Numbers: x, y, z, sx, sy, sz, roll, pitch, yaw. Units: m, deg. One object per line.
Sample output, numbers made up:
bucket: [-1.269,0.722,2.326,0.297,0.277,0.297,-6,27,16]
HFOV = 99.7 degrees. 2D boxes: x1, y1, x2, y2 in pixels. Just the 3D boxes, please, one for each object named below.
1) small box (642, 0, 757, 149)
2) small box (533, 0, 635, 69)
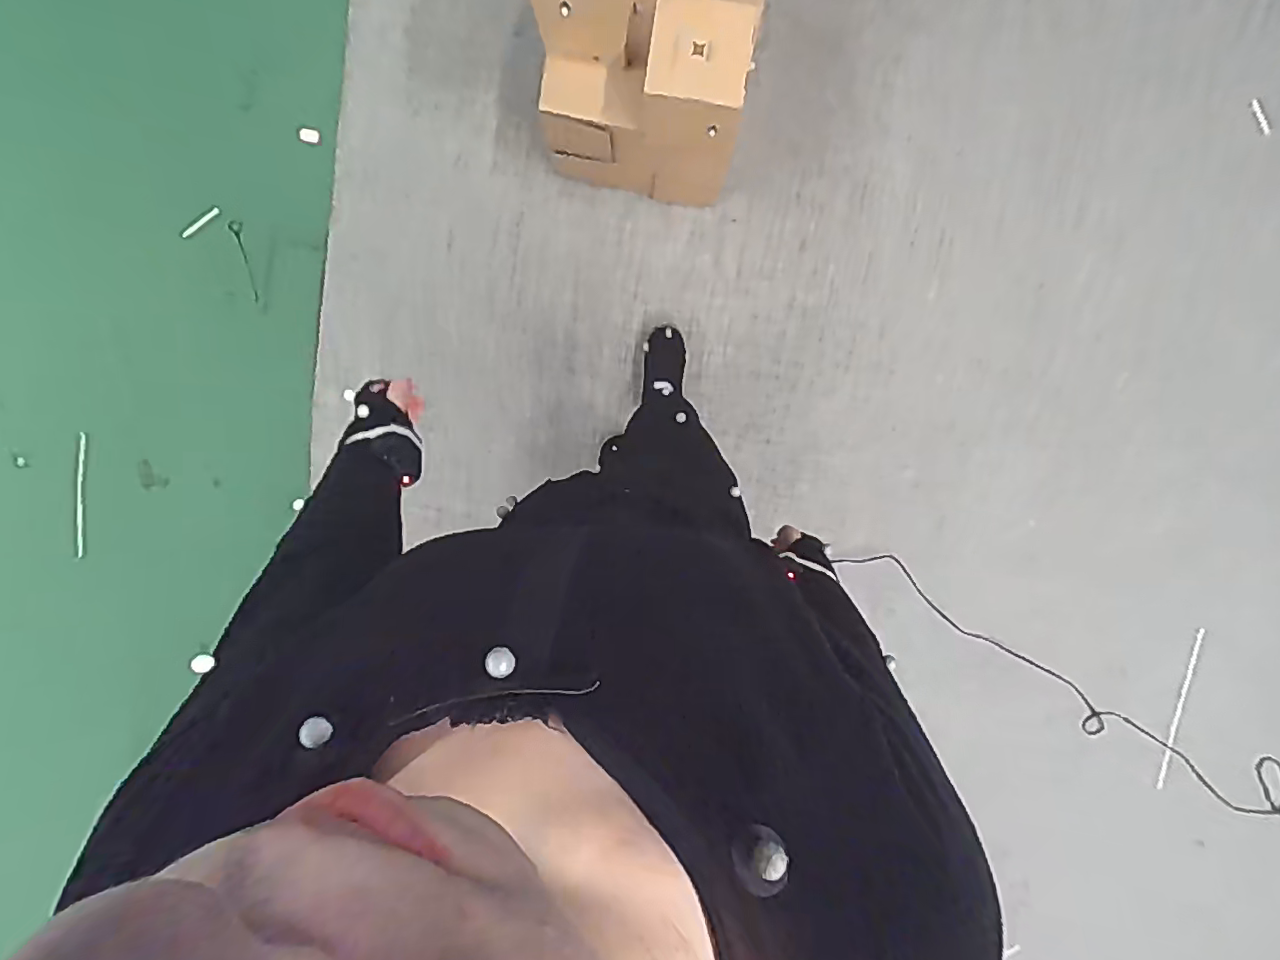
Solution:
small box: [0.101,-0.743,0.998,0.179,0.176,0.168,9,96,0]
small box: [-0.099,-0.908,0.985,0.168,0.176,0.179,11,95,1]
